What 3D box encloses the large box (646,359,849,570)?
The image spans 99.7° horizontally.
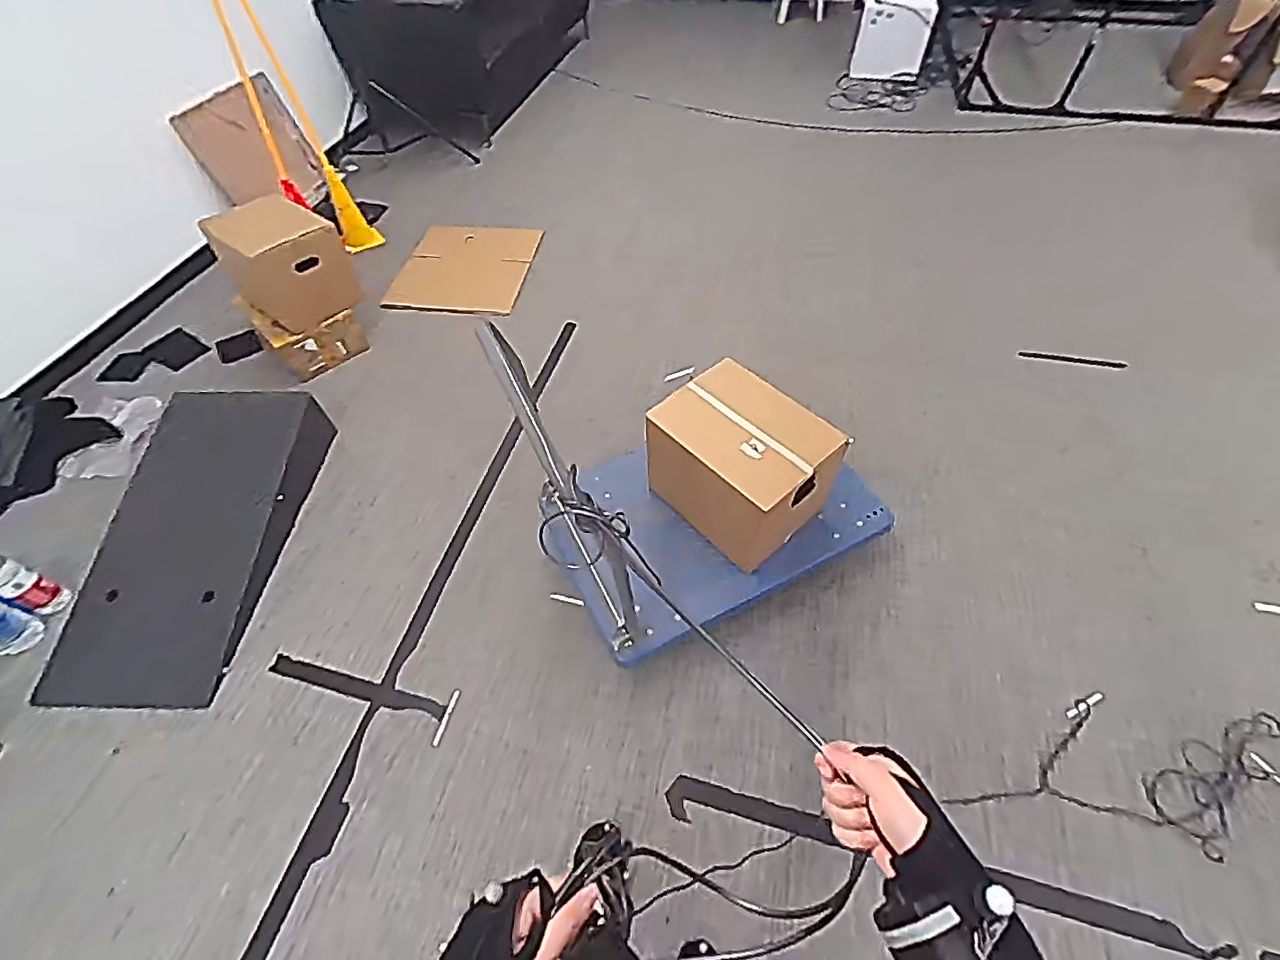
[{"bbox_3d":[0.258,-0.043,1.438,0.320,0.320,0.408,-37,62,-21],"label":"large box"}]
